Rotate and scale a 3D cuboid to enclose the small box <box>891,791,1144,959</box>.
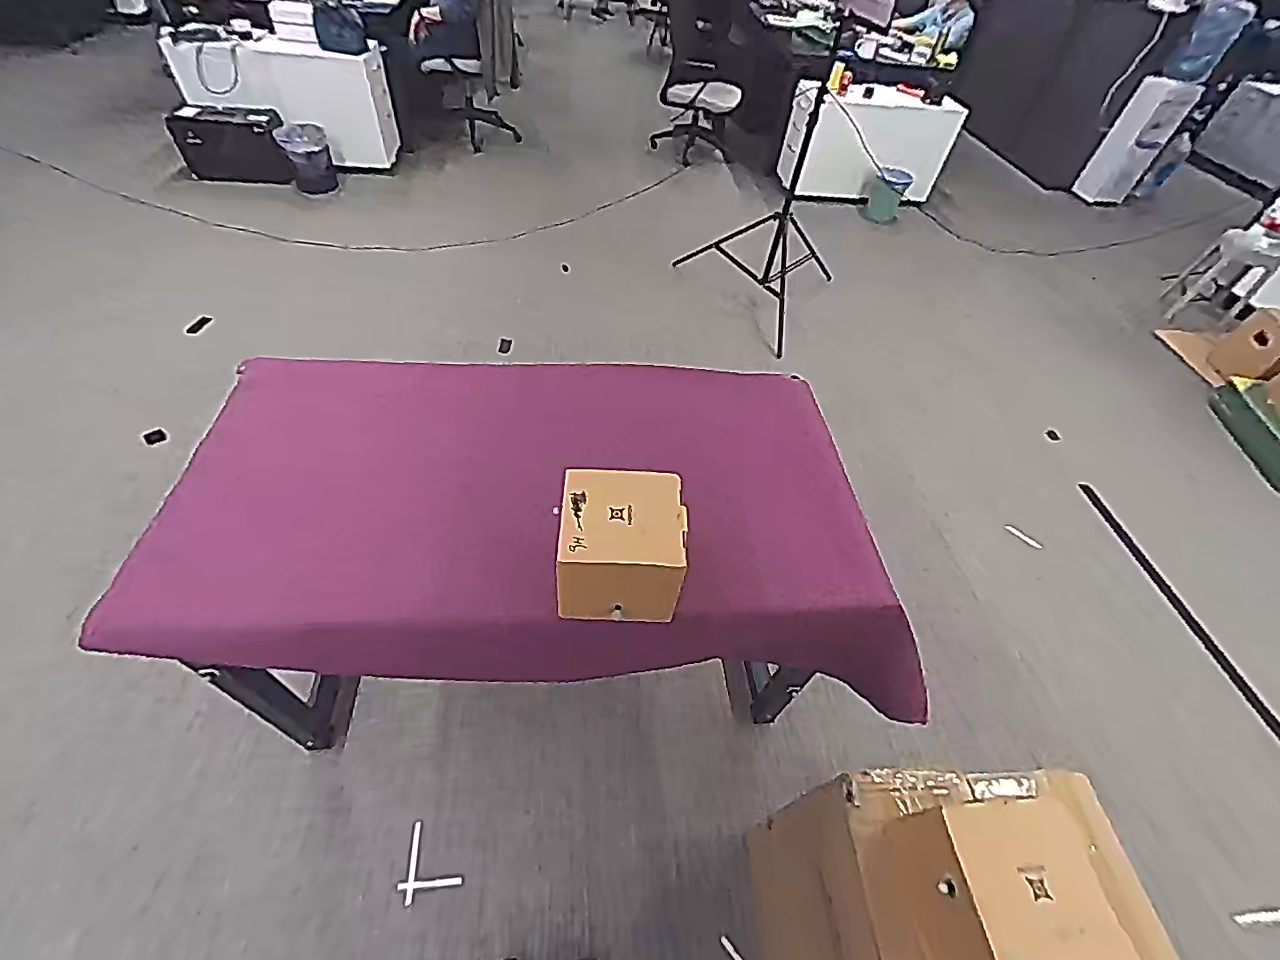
[{"bbox_3d":[0.450,0.511,0.681,0.168,0.176,0.179,-1,51,-5],"label":"small box"}]

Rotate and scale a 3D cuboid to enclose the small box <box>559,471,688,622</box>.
[{"bbox_3d":[-0.030,0.106,0.834,0.179,0.176,0.168,4,48,-5],"label":"small box"}]
